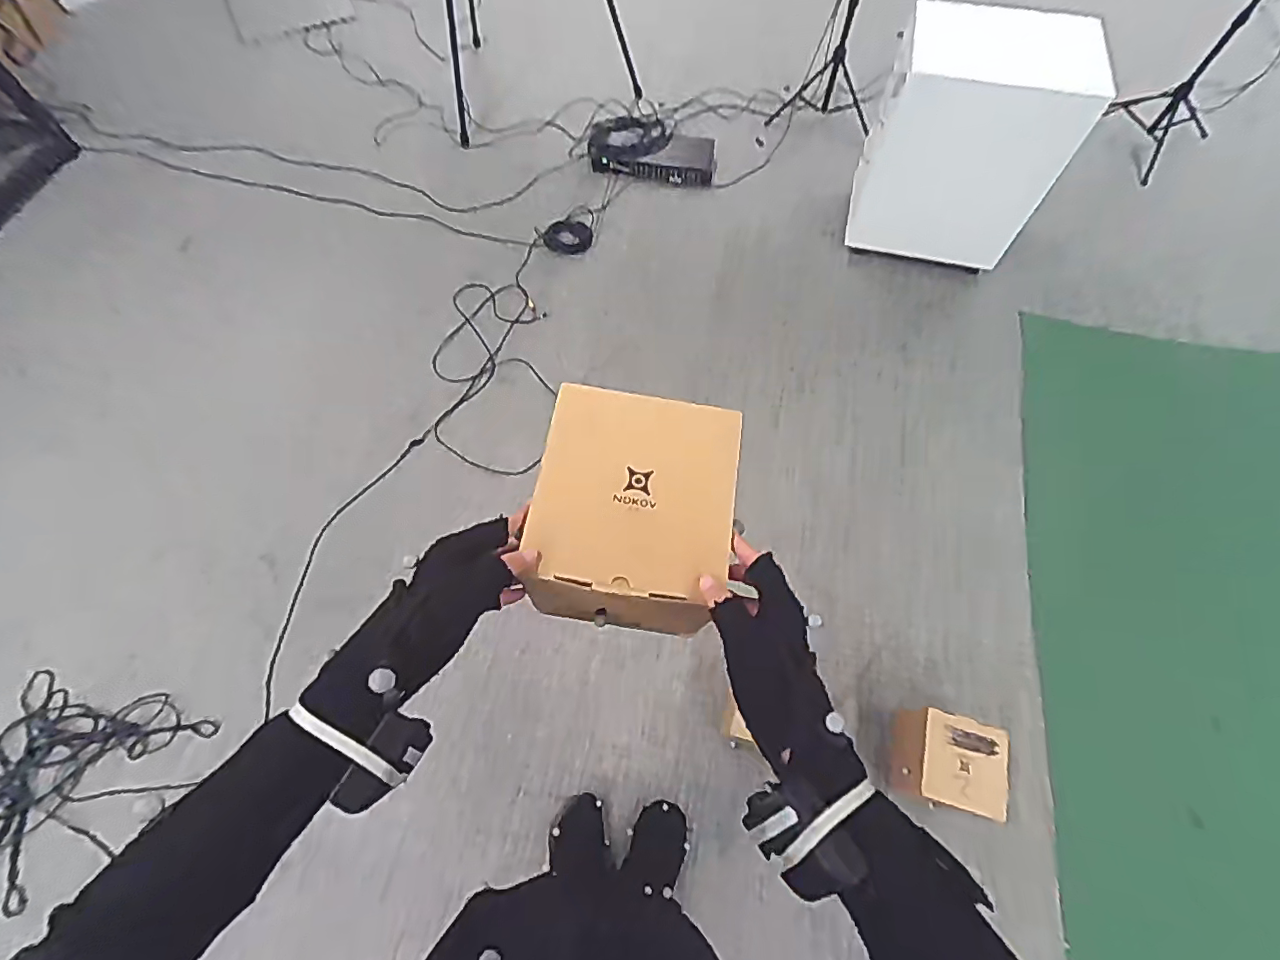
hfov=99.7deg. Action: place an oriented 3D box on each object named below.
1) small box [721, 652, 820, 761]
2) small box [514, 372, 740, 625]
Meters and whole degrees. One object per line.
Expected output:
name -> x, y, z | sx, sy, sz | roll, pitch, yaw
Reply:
small box -> 0.288, 0.514, 1.224 | 0.168, 0.176, 0.179 | 18, 64, 9
small box -> -0.011, 0.028, 0.512 | 0.168, 0.176, 0.179 | 9, 68, -1
